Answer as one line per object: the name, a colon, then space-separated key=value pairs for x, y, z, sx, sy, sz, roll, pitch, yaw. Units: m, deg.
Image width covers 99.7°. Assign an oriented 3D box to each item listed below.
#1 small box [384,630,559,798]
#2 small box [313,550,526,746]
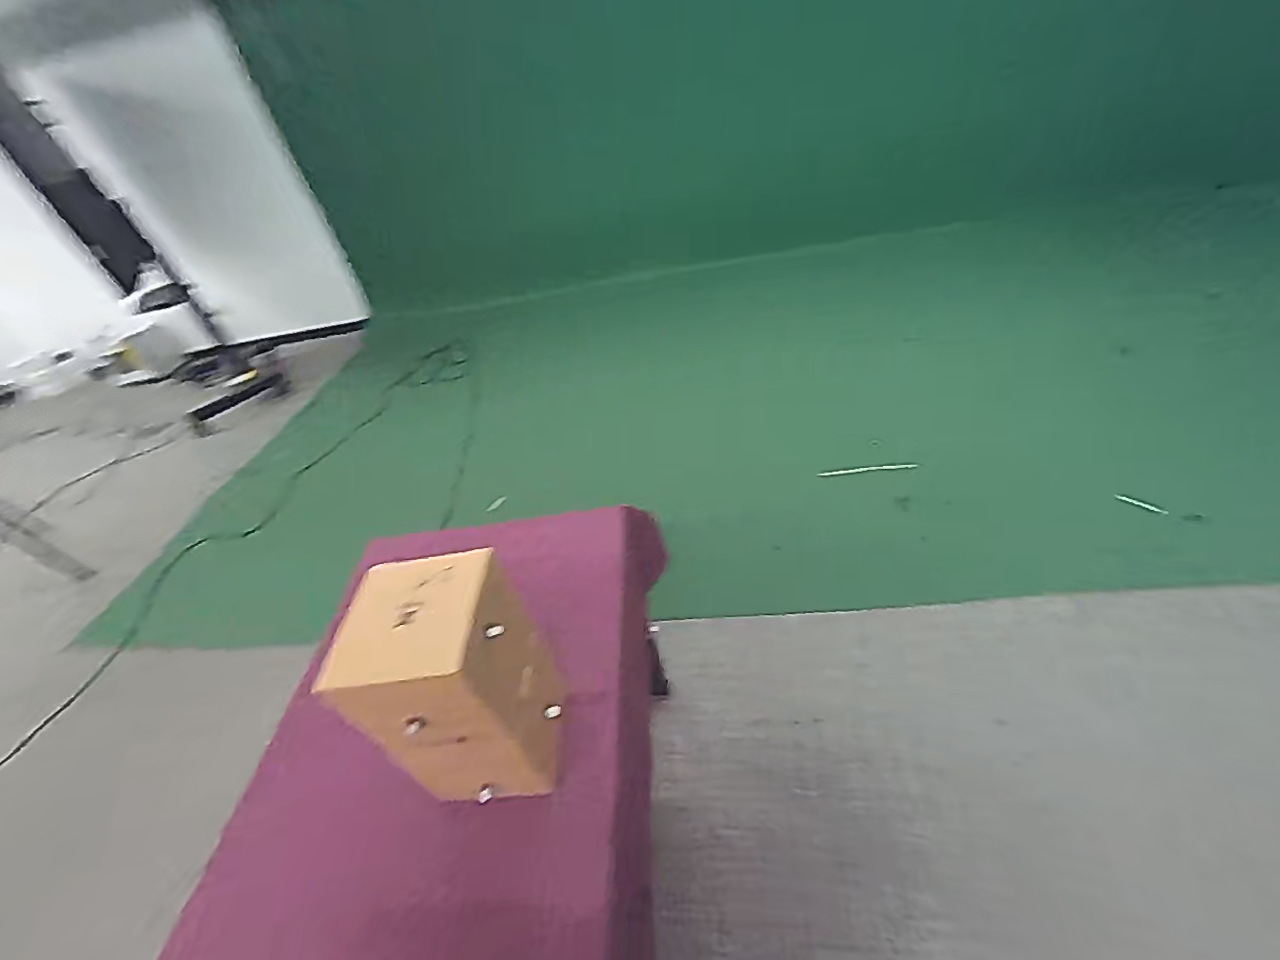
small box: x=-0.226 y=0.341 z=0.785 sx=0.179 sy=0.176 sz=0.168 roll=-8 pitch=40 yaw=7
small box: x=-0.255 y=0.216 z=0.680 sx=0.168 sy=0.176 sz=0.179 roll=-9 pitch=40 yaw=6
